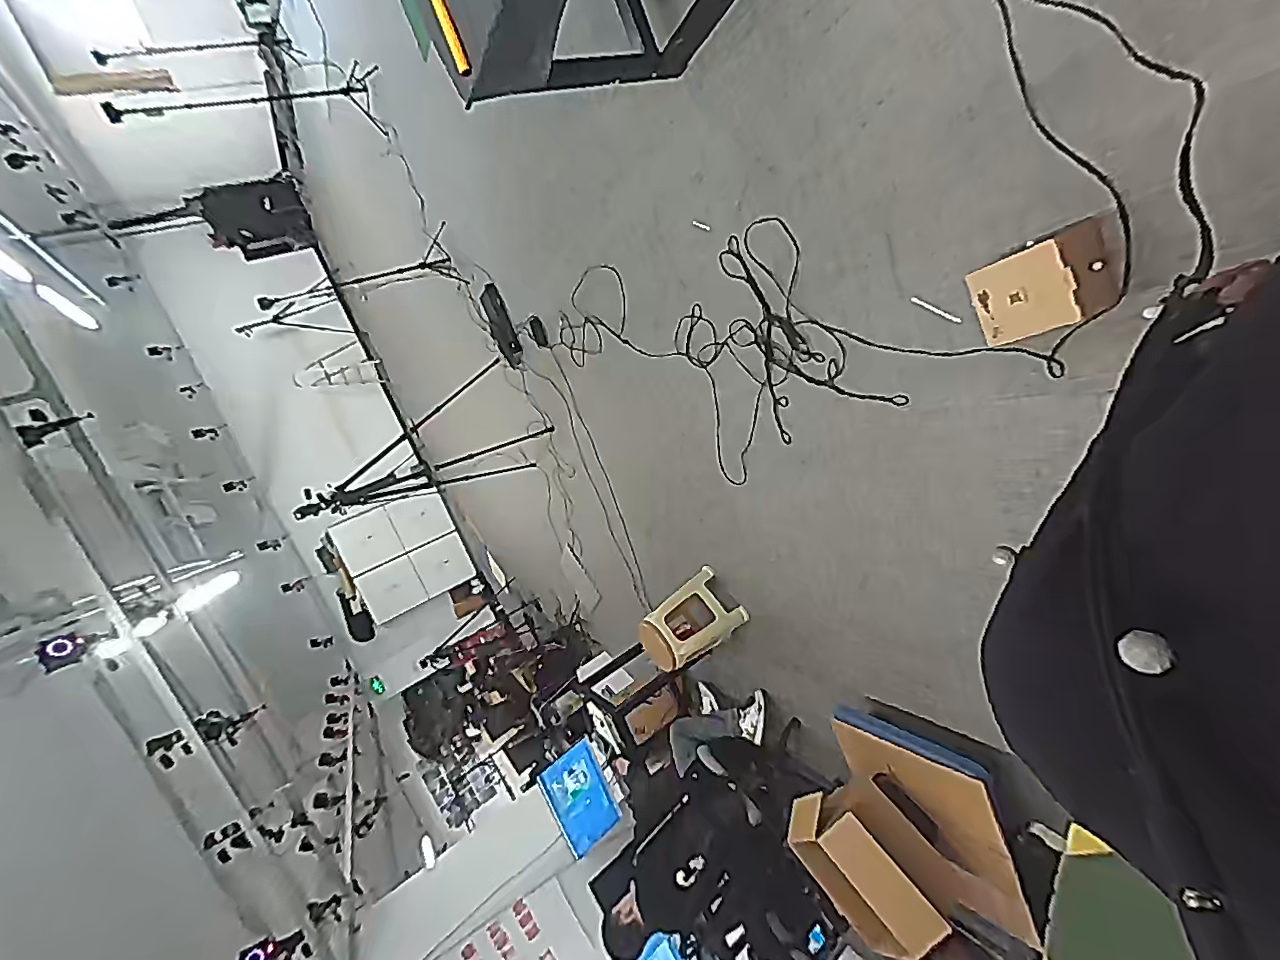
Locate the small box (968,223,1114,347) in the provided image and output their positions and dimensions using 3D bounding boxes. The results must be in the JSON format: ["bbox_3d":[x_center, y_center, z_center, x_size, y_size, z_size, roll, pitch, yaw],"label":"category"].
[{"bbox_3d":[0.822,-0.397,1.104,0.179,0.176,0.168,-11,104,63],"label":"small box"}]
